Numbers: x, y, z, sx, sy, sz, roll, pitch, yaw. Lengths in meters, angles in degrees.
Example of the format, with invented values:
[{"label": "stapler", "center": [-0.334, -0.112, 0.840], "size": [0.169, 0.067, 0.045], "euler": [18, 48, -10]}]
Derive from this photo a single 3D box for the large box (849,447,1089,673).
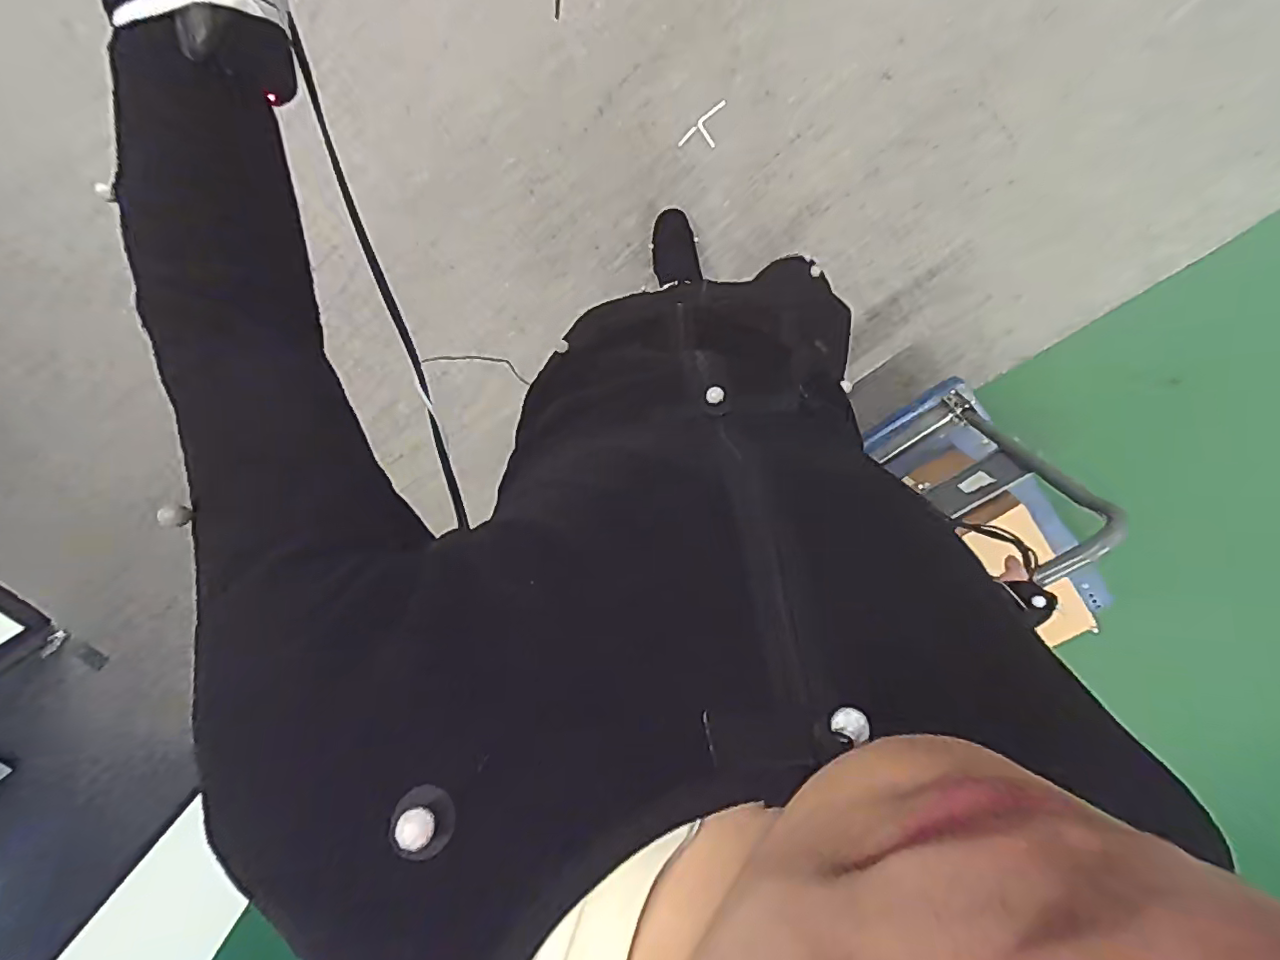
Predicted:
[{"label": "large box", "center": [0.805, 0.195, 1.373], "size": [0.320, 0.320, 0.408], "euler": [-35, 108, 20]}]
